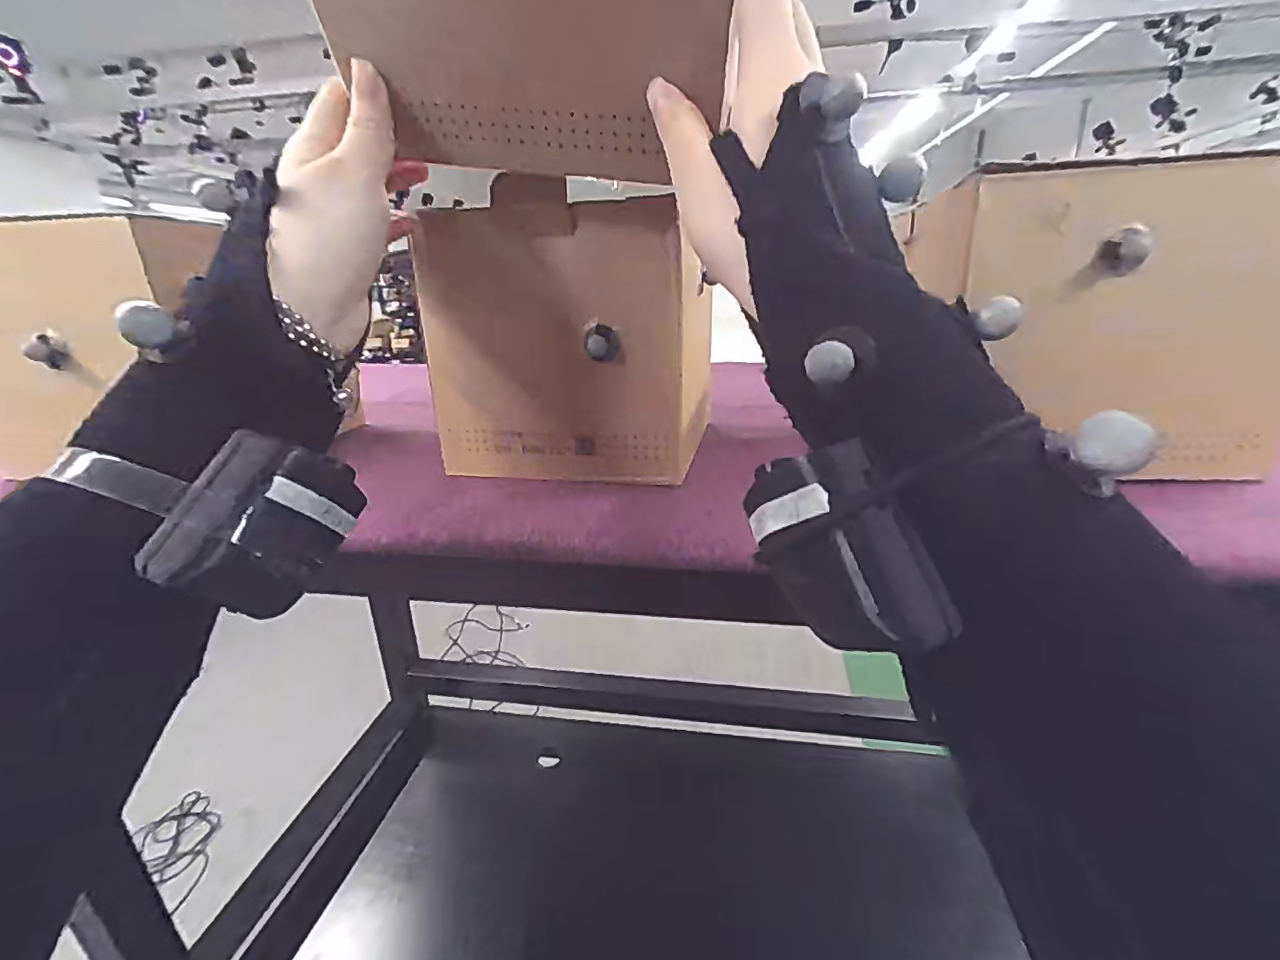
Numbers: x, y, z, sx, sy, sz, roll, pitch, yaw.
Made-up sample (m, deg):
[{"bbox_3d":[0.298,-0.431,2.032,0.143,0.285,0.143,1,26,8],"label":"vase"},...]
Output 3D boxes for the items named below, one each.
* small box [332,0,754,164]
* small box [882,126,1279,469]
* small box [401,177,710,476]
[{"bbox_3d":[-0.035,-0.265,0.239,0.179,0.176,0.168,9,55,7],"label":"small box"},{"bbox_3d":[0.271,-0.107,0.357,0.179,0.176,0.168,1,18,9],"label":"small box"},{"bbox_3d":[-0.039,-0.108,0.396,0.168,0.176,0.179,3,20,11],"label":"small box"}]
